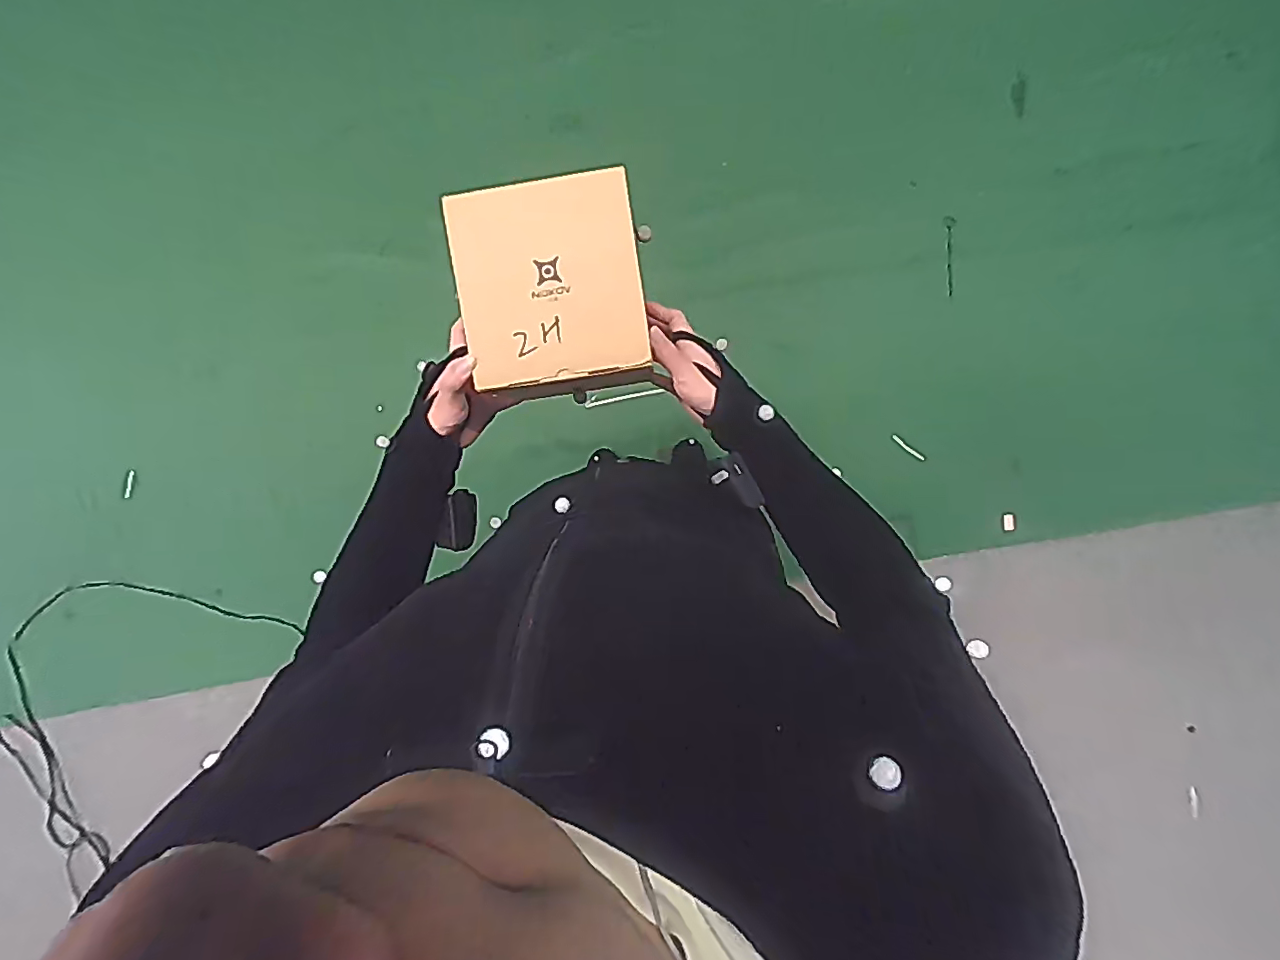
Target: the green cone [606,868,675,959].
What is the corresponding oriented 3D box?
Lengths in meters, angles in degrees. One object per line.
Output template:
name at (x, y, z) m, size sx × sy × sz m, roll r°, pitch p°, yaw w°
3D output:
green cone at (-0.005, 1.355, 1.560) m, size 0.202 × 0.368 × 0.200 m, roll -9°, pitch 93°, yaw 3°
